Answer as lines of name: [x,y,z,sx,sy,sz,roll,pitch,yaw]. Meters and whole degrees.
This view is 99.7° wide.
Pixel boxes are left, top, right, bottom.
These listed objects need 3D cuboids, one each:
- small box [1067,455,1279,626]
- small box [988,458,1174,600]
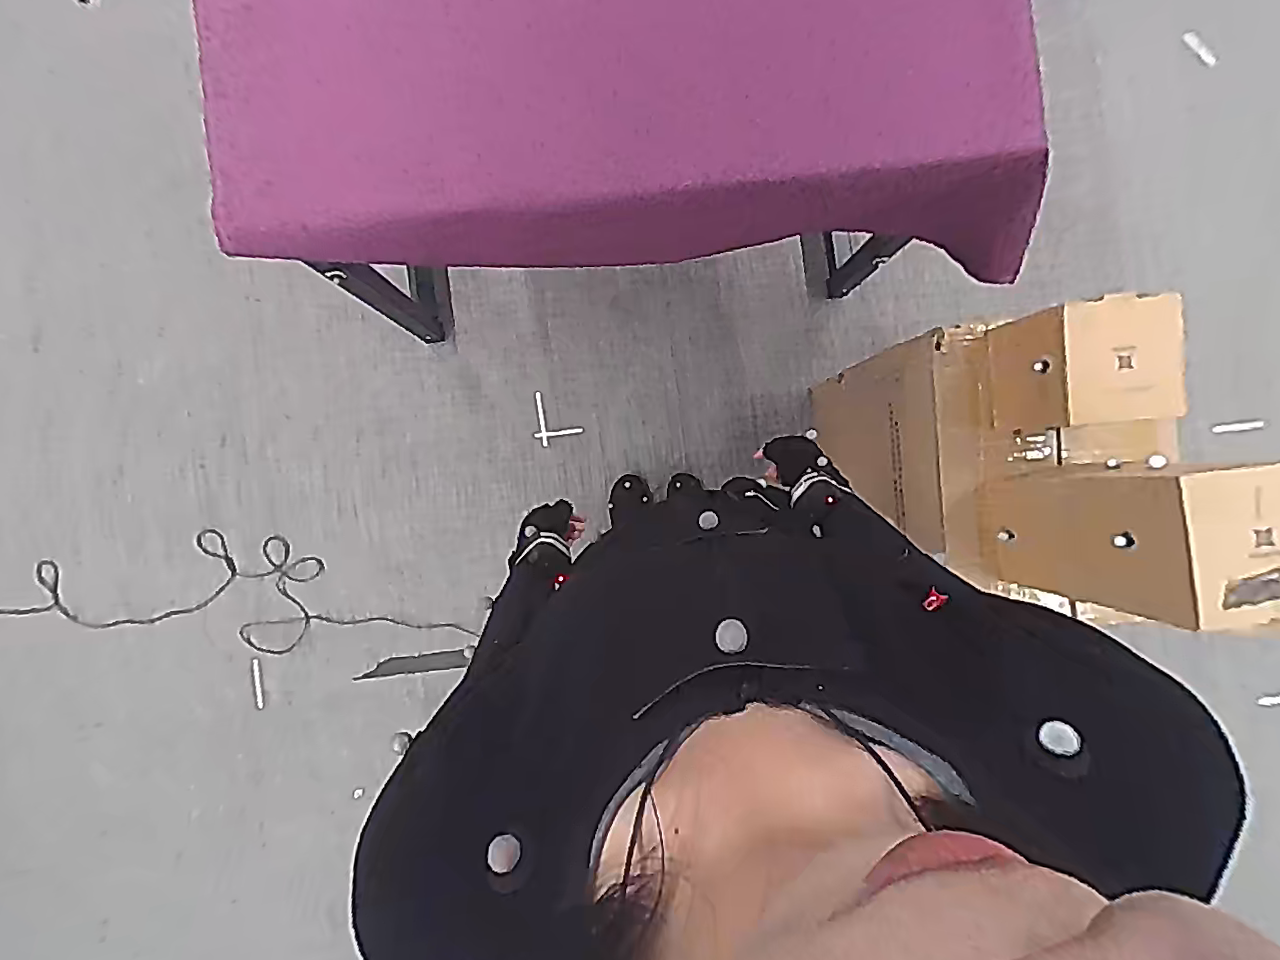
small box: [0.676,0.065,0.665,0.168,0.176,0.179,-7,88,0]
small box: [0.678,0.067,0.830,0.168,0.176,0.179,-12,90,0]
